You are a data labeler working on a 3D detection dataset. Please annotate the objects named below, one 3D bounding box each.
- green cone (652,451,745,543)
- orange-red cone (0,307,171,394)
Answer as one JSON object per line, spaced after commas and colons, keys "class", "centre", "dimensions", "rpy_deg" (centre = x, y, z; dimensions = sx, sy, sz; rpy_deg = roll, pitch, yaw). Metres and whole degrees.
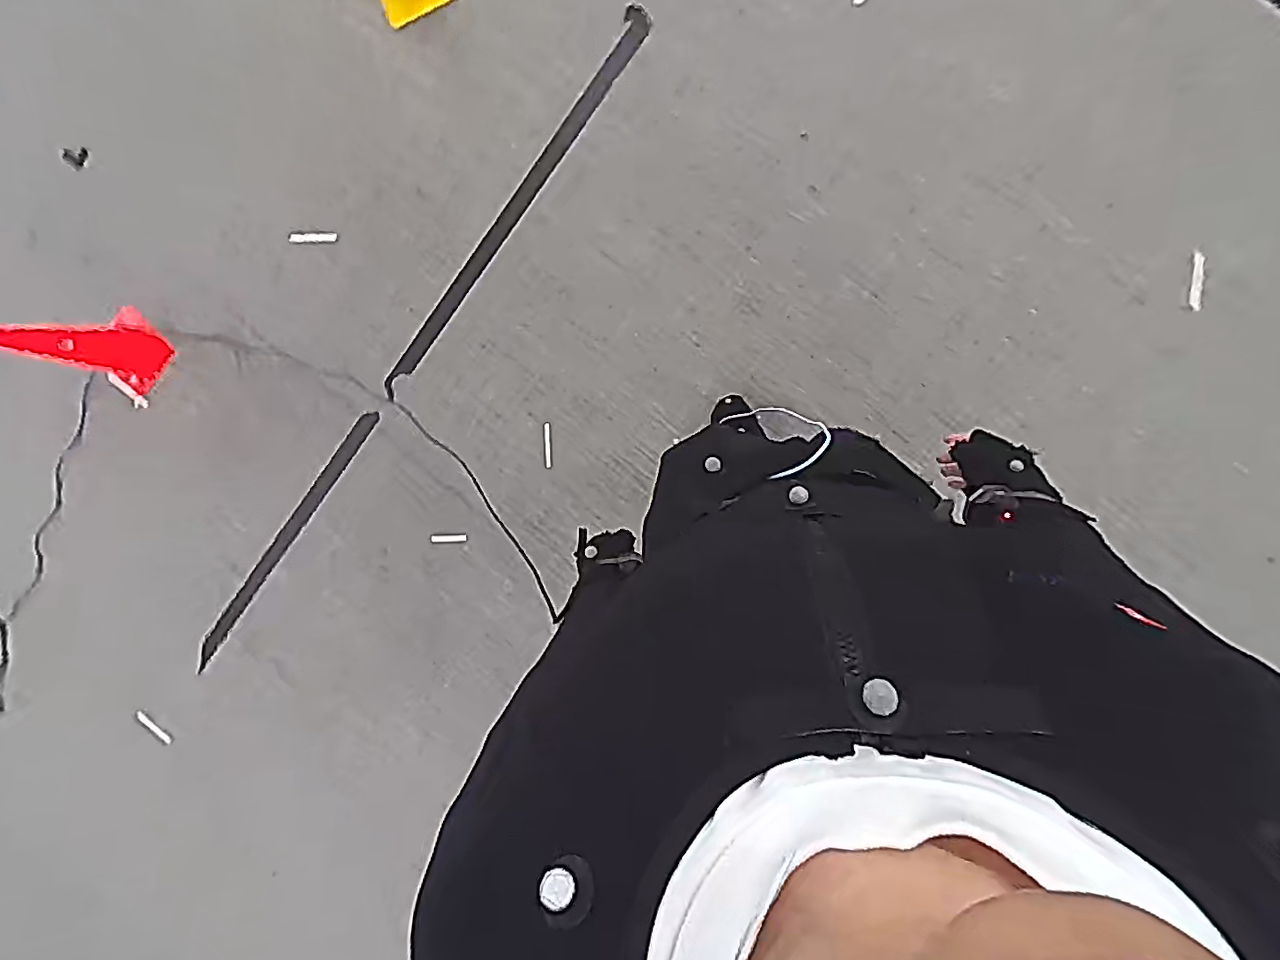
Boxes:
{"class": "green cone", "centre": [0.128, 0.068, 1.255], "dimensions": [0.200, 0.368, 0.202], "rpy_deg": [24, 100, 4]}
{"class": "orange-red cone", "centre": [-1.498, -0.359, 1.408], "dimensions": [0.199, 0.360, 0.198], "rpy_deg": [-43, 90, 8]}
